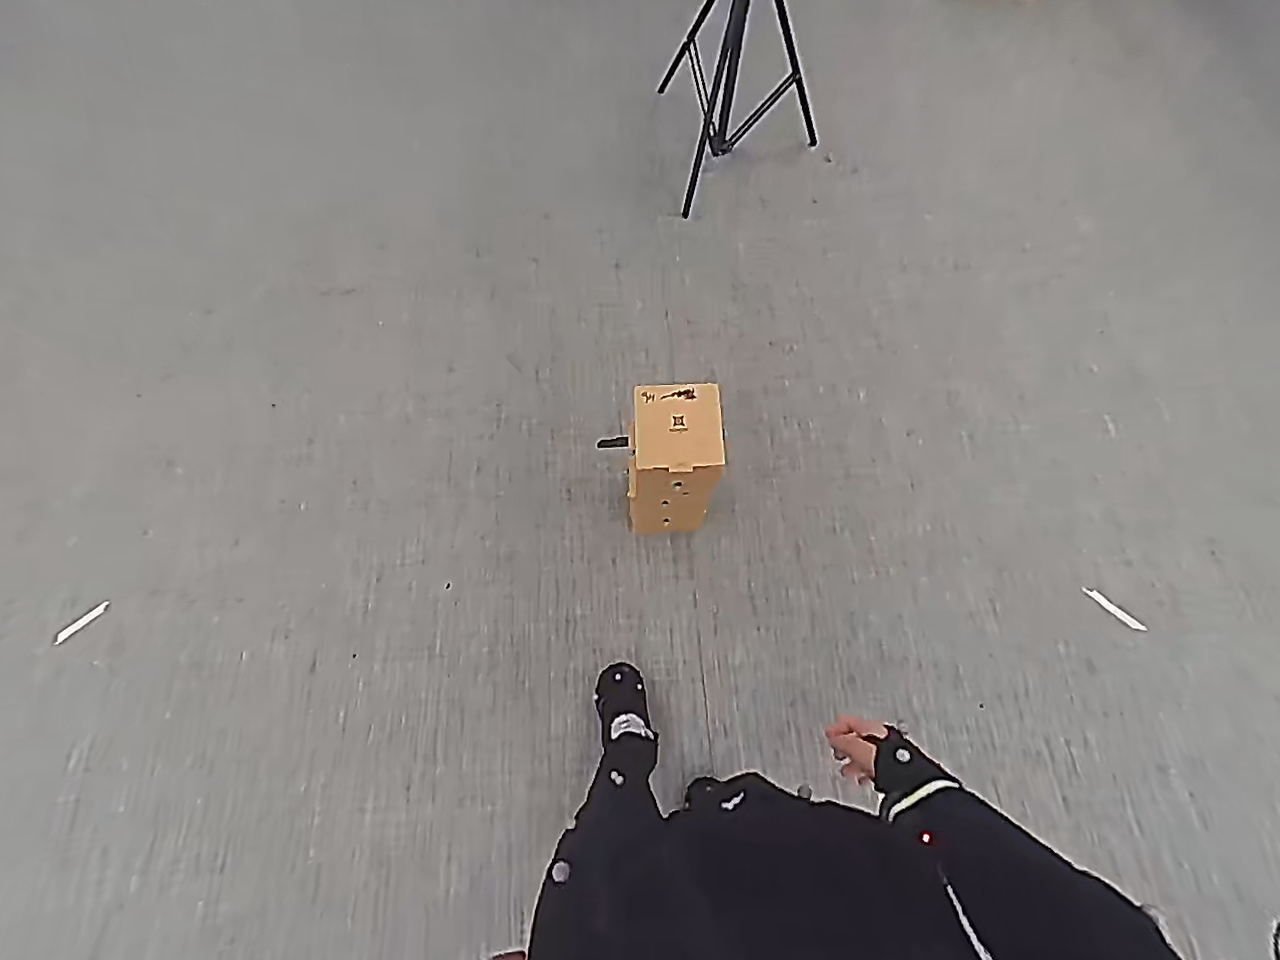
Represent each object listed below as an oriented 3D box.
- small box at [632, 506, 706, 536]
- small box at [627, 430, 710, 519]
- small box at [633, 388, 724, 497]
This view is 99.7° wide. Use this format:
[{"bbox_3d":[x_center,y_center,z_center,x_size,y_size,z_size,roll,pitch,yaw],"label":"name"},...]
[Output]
[{"bbox_3d":[0.066,0.044,1.394,0.179,0.176,0.168,-3,70,-2],"label":"small box"},{"bbox_3d":[0.061,-0.008,1.238,0.179,0.176,0.168,-1,71,-1],"label":"small box"},{"bbox_3d":[0.071,-0.067,1.085,0.168,0.176,0.179,-2,71,-1],"label":"small box"}]
